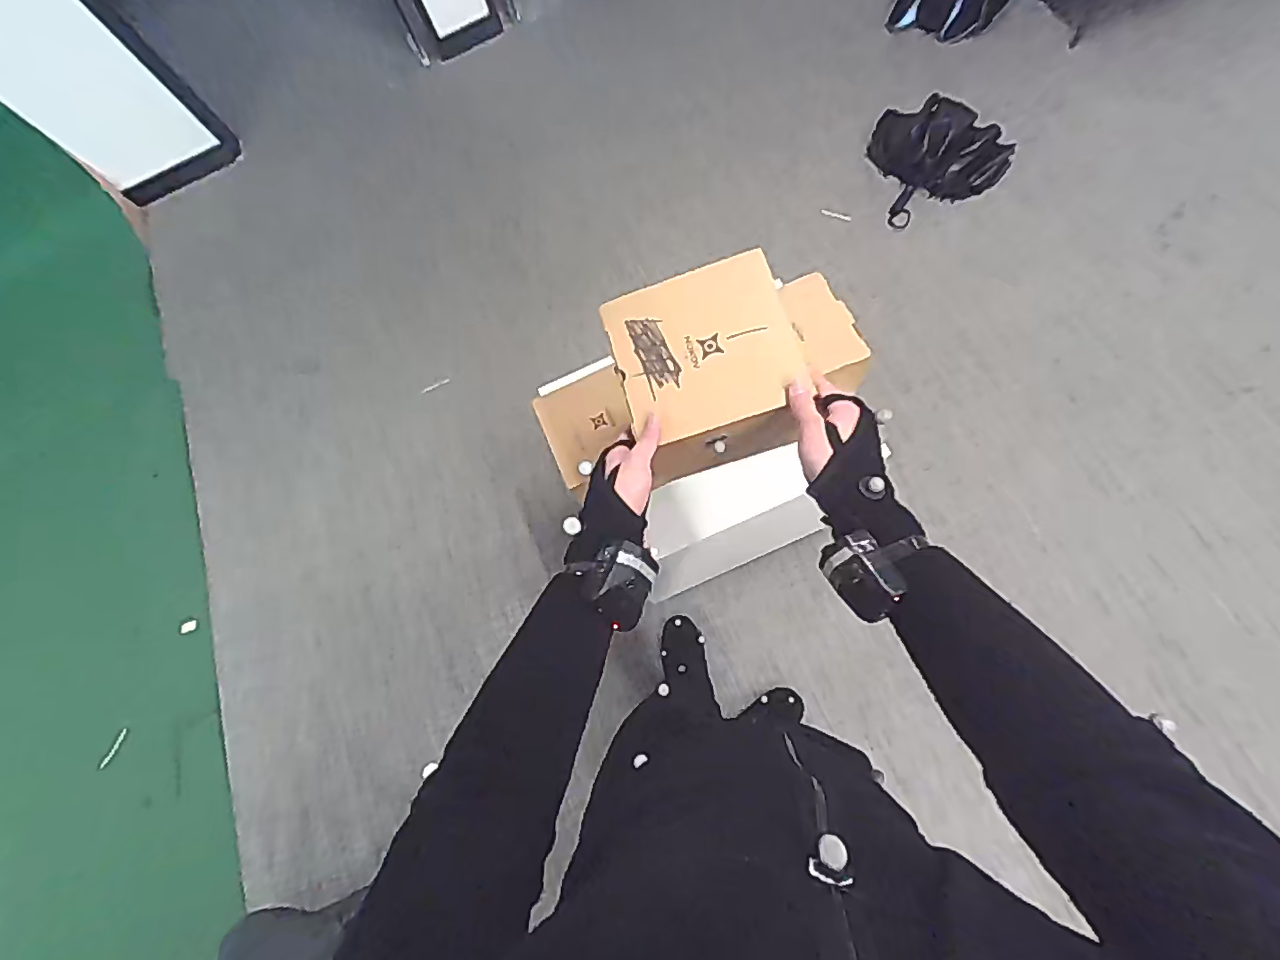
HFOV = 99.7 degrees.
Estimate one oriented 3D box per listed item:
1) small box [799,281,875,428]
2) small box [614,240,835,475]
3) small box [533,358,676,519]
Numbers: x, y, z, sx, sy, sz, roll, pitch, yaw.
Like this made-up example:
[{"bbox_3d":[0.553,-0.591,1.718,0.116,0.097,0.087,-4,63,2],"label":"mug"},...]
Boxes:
[{"bbox_3d":[0.241,-0.183,0.883,0.179,0.176,0.168,-22,70,-2],"label":"small box"},{"bbox_3d":[0.088,-0.118,0.593,0.179,0.176,0.168,-17,76,4],"label":"small box"},{"bbox_3d":[-0.046,-0.059,0.871,0.179,0.176,0.168,-25,69,-3],"label":"small box"}]
